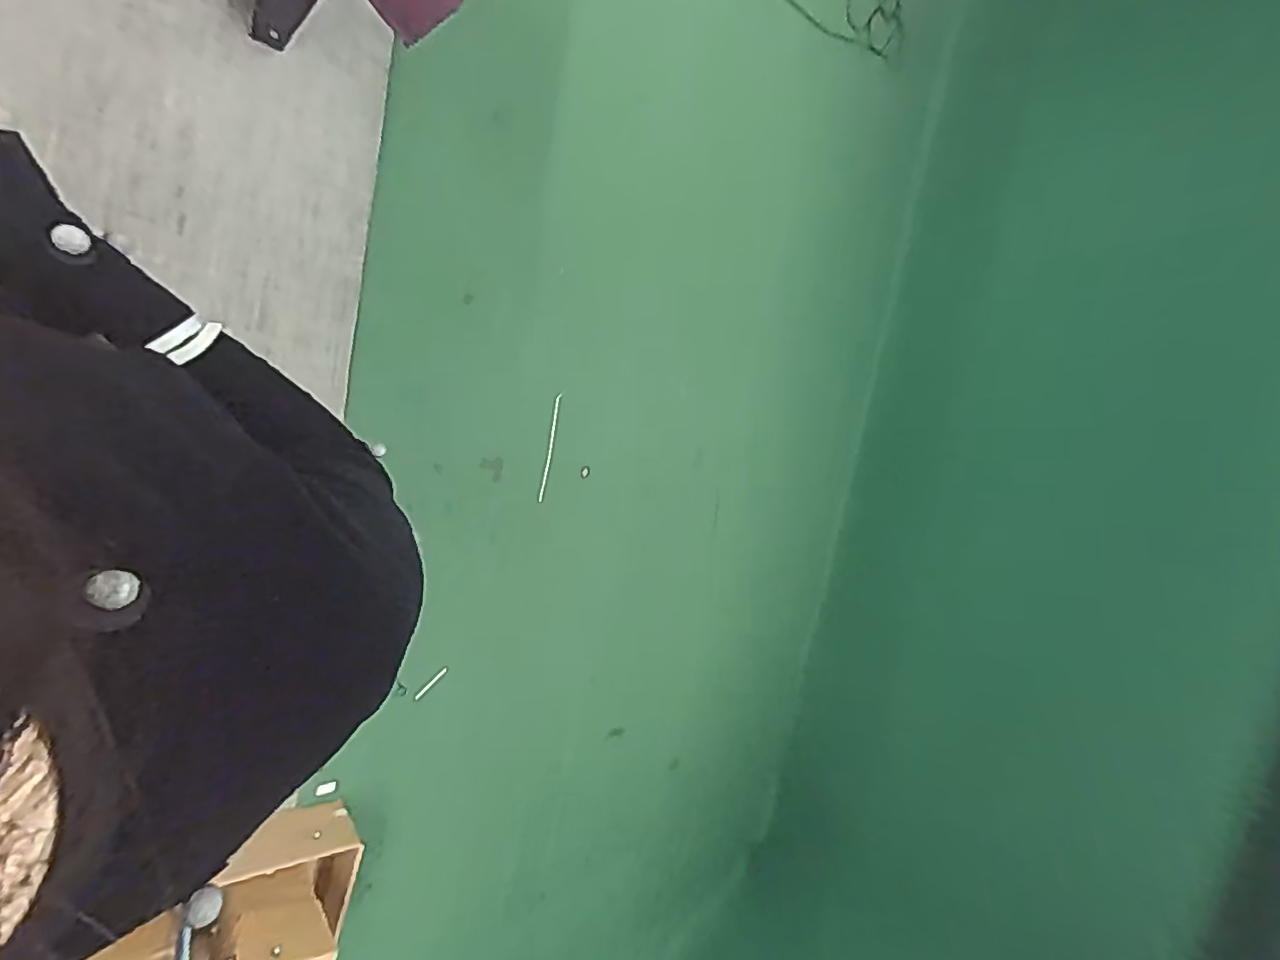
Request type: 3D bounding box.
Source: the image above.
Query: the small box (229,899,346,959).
[{"bbox_3d":[-0.832,1.129,1.266,0.179,0.176,0.168,29,81,-43],"label":"small box"}]
